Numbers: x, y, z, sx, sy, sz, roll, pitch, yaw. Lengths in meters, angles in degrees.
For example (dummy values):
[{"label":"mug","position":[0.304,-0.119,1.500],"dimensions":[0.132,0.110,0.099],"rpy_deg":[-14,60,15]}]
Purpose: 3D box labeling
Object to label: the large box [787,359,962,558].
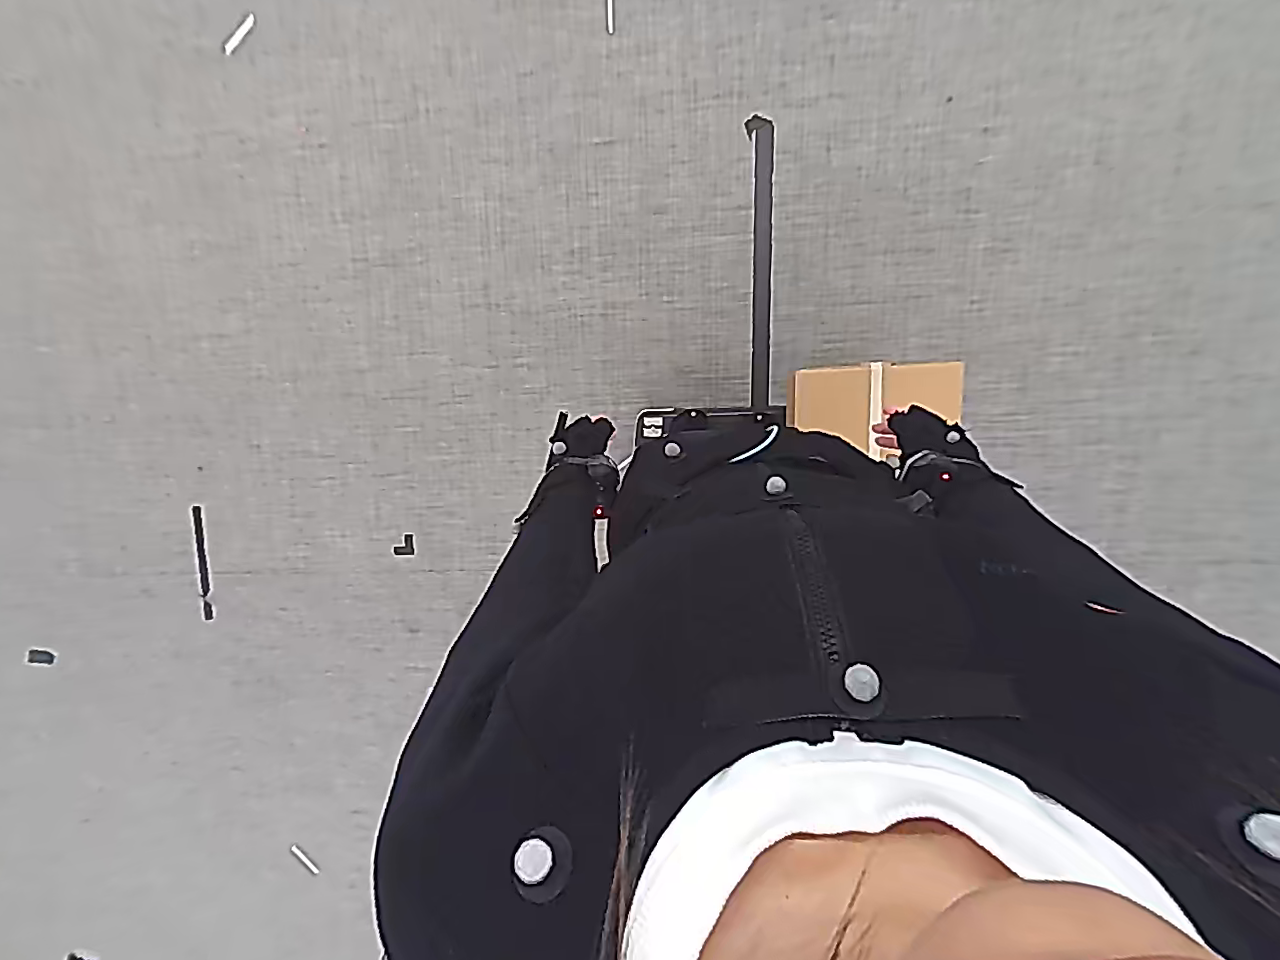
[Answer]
[{"label":"large box","position":[0.510,-0.059,1.245],"dimensions":[0.320,0.320,0.408],"rpy_deg":[0,100,13]}]
